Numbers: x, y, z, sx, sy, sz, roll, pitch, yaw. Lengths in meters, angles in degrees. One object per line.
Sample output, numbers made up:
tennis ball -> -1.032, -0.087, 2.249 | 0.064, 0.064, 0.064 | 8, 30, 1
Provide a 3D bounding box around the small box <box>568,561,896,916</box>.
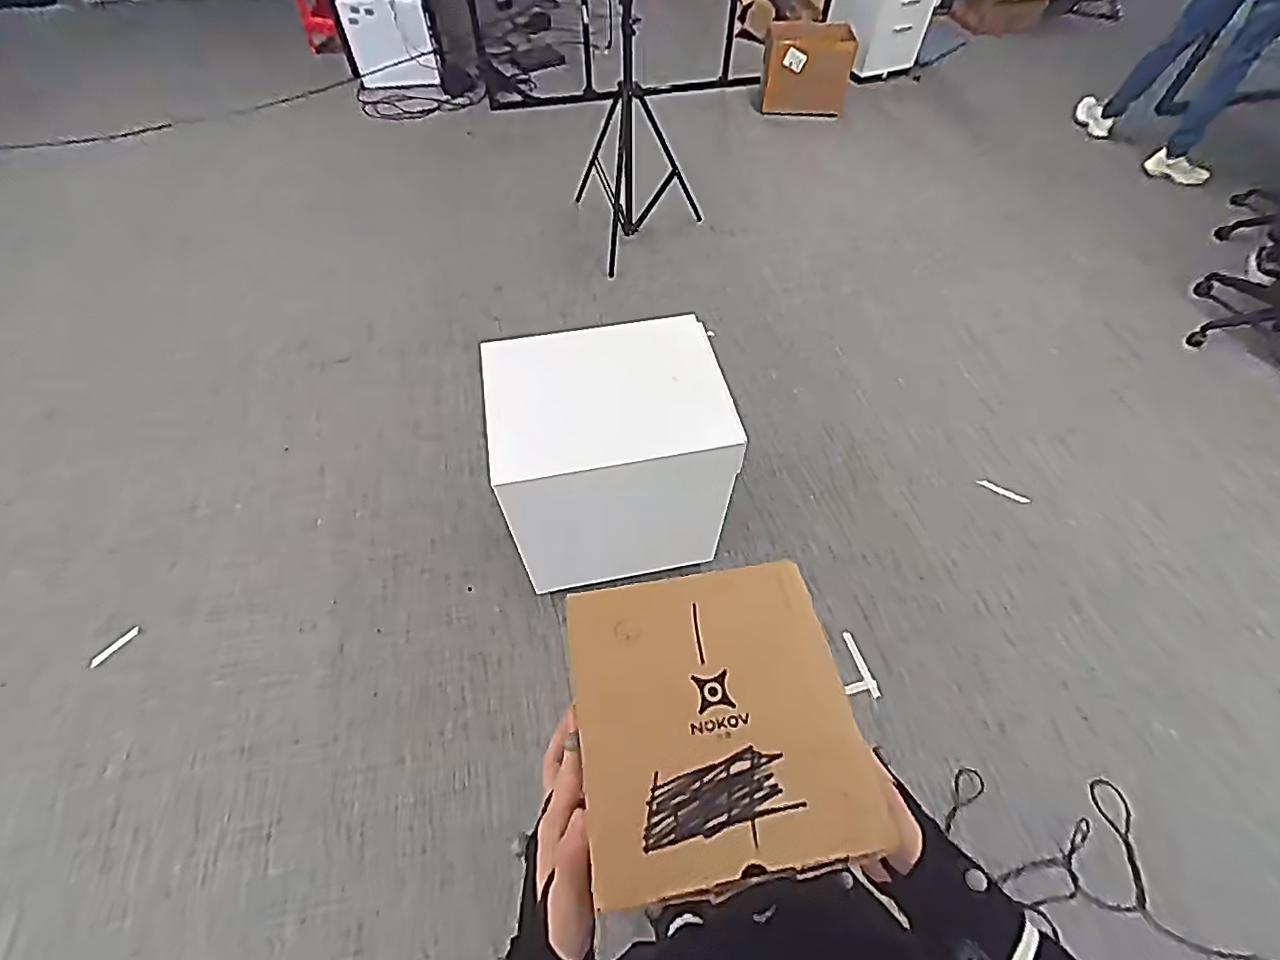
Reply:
small box -> 0.045, 0.184, 0.392 | 0.168, 0.176, 0.179 | -8, 55, -7
